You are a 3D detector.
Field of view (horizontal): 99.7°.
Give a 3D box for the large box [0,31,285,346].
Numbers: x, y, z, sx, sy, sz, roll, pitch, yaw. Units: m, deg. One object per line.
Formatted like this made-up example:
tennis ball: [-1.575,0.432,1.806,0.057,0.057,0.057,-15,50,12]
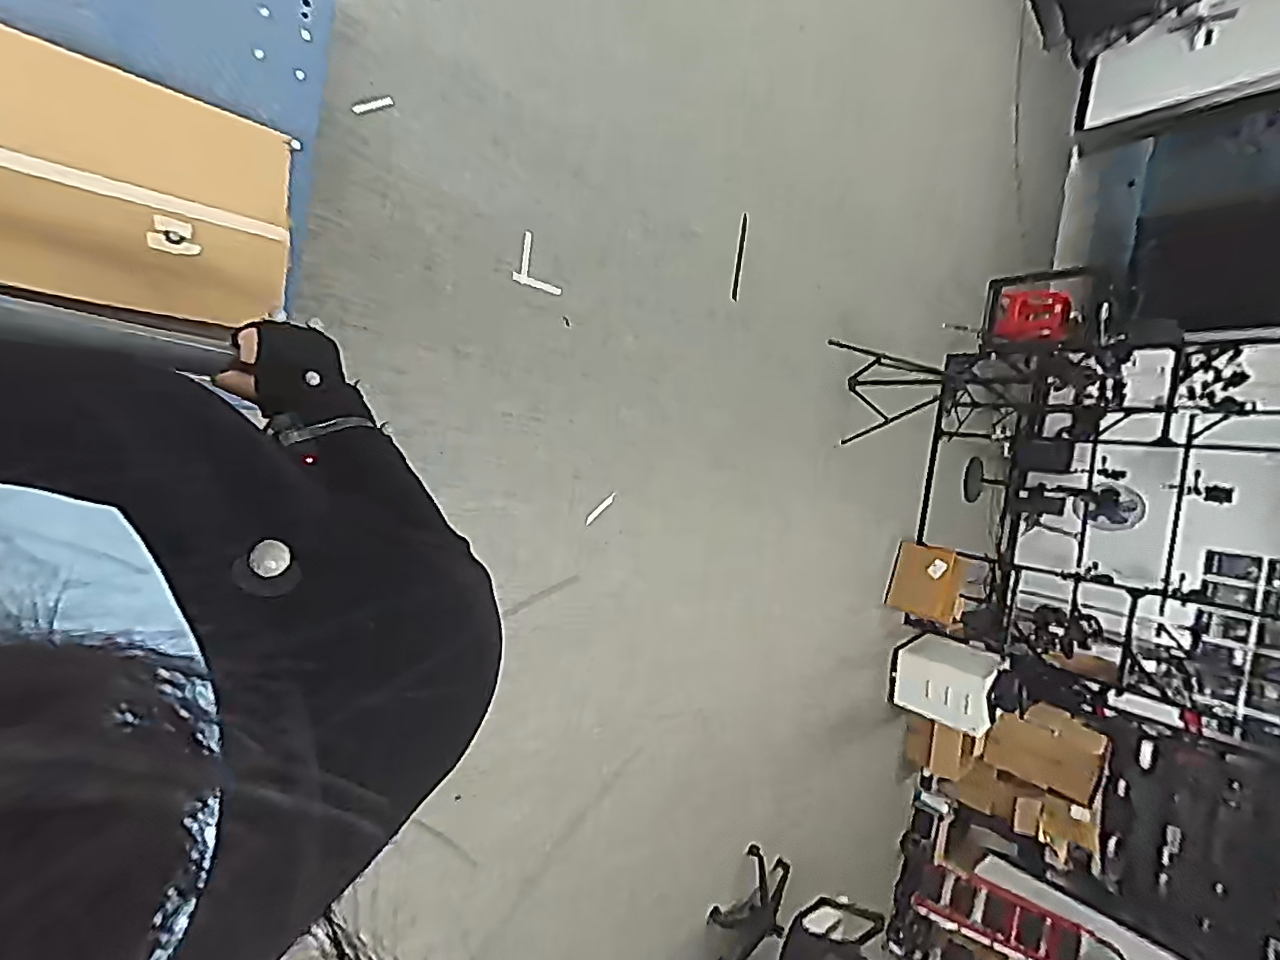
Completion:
large box: [-0.824,-0.406,0.837,0.408,0.320,0.320,2,95,-44]
